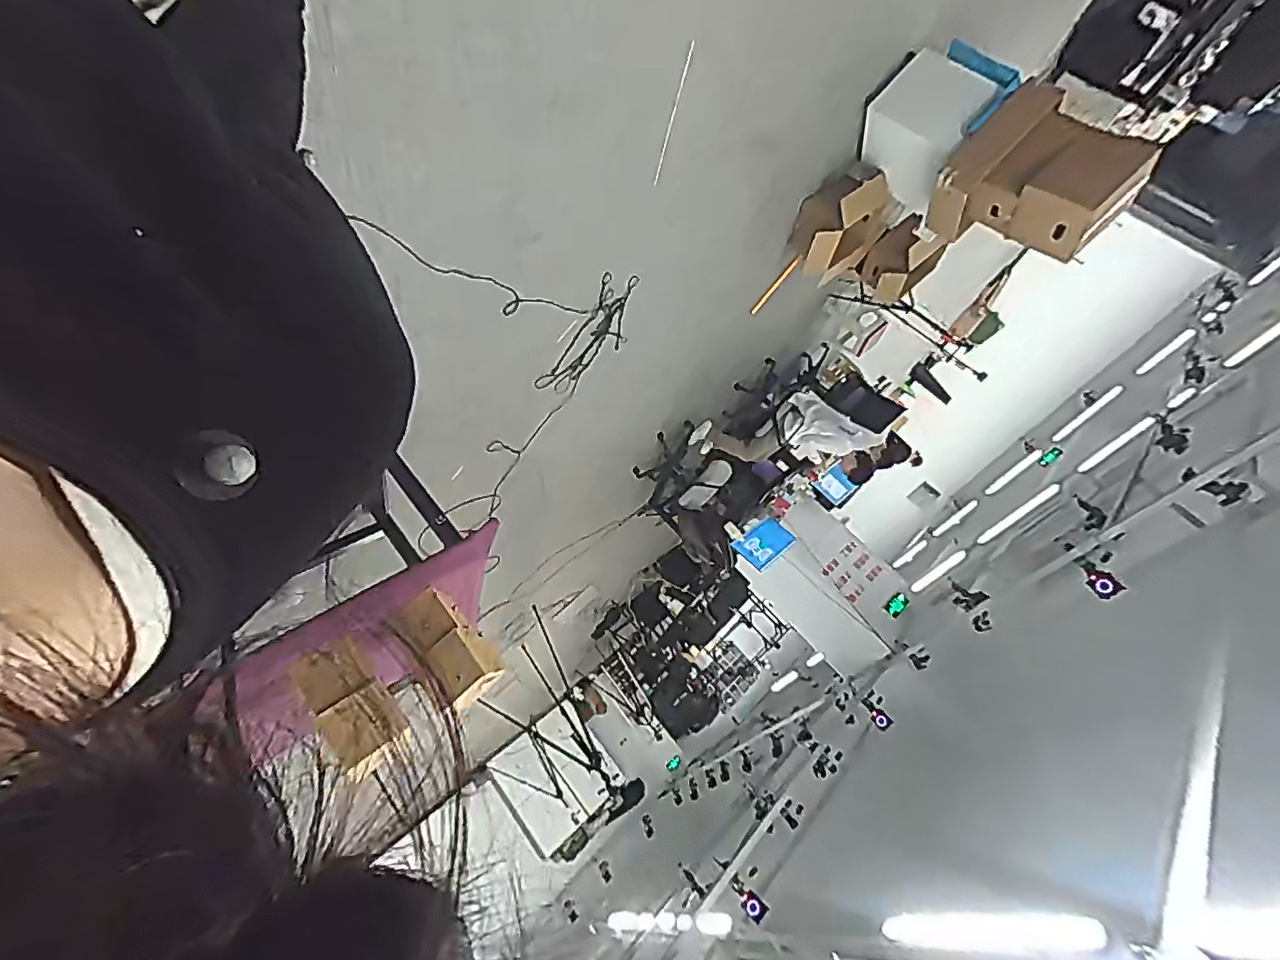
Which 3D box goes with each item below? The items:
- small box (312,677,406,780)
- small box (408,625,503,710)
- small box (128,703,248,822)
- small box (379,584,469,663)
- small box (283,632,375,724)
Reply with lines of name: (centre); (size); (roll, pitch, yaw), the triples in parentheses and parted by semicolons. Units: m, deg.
small box: (-0.750, 0.657, 1.445); (0.168, 0.176, 0.179); (-31, 160, -38)
small box: (-0.552, 0.551, 1.619); (0.179, 0.176, 0.168); (-42, 162, -2)
small box: (-1.075, 0.666, 1.292); (0.168, 0.176, 0.179); (-26, 155, -42)
small box: (-0.667, 0.448, 1.680); (0.179, 0.176, 0.168); (-39, 162, -14)
small box: (-0.861, 0.555, 1.507); (0.168, 0.176, 0.179); (-30, 158, -39)
